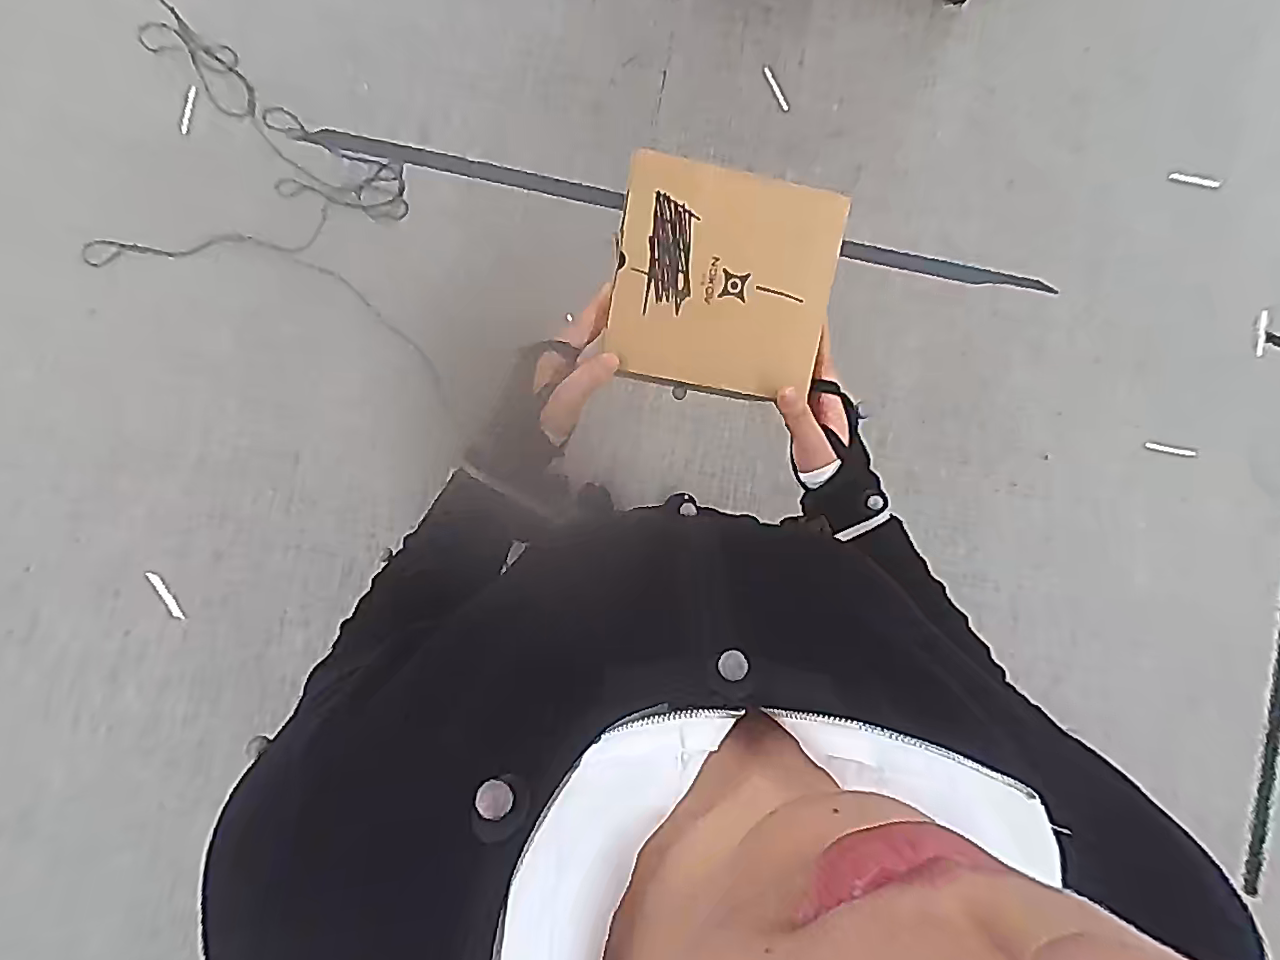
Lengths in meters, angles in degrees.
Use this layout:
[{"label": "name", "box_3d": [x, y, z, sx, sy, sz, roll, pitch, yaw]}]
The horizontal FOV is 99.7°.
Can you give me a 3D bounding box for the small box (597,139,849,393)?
[{"label": "small box", "box_3d": [0.058, -0.176, 0.503, 0.179, 0.176, 0.168, 9, 99, -7]}]
